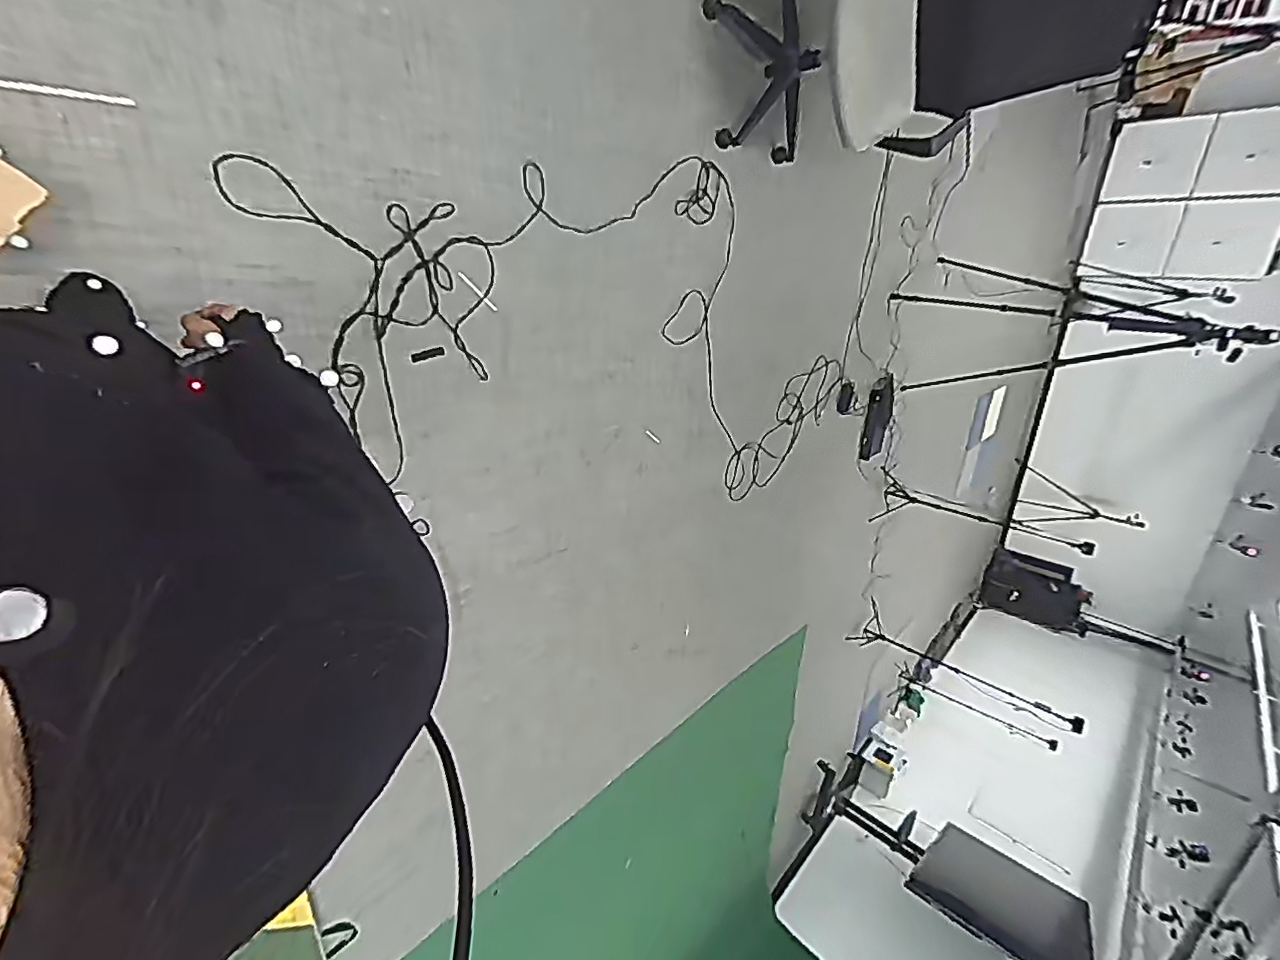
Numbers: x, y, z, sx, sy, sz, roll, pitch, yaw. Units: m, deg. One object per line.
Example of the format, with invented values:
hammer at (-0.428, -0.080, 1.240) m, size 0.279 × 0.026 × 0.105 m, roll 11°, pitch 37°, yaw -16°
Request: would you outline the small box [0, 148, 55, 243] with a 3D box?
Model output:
small box at (-0.979, -0.422, 0.749) m, size 0.168 × 0.176 × 0.179 m, roll -57°, pitch 138°, yaw -13°
